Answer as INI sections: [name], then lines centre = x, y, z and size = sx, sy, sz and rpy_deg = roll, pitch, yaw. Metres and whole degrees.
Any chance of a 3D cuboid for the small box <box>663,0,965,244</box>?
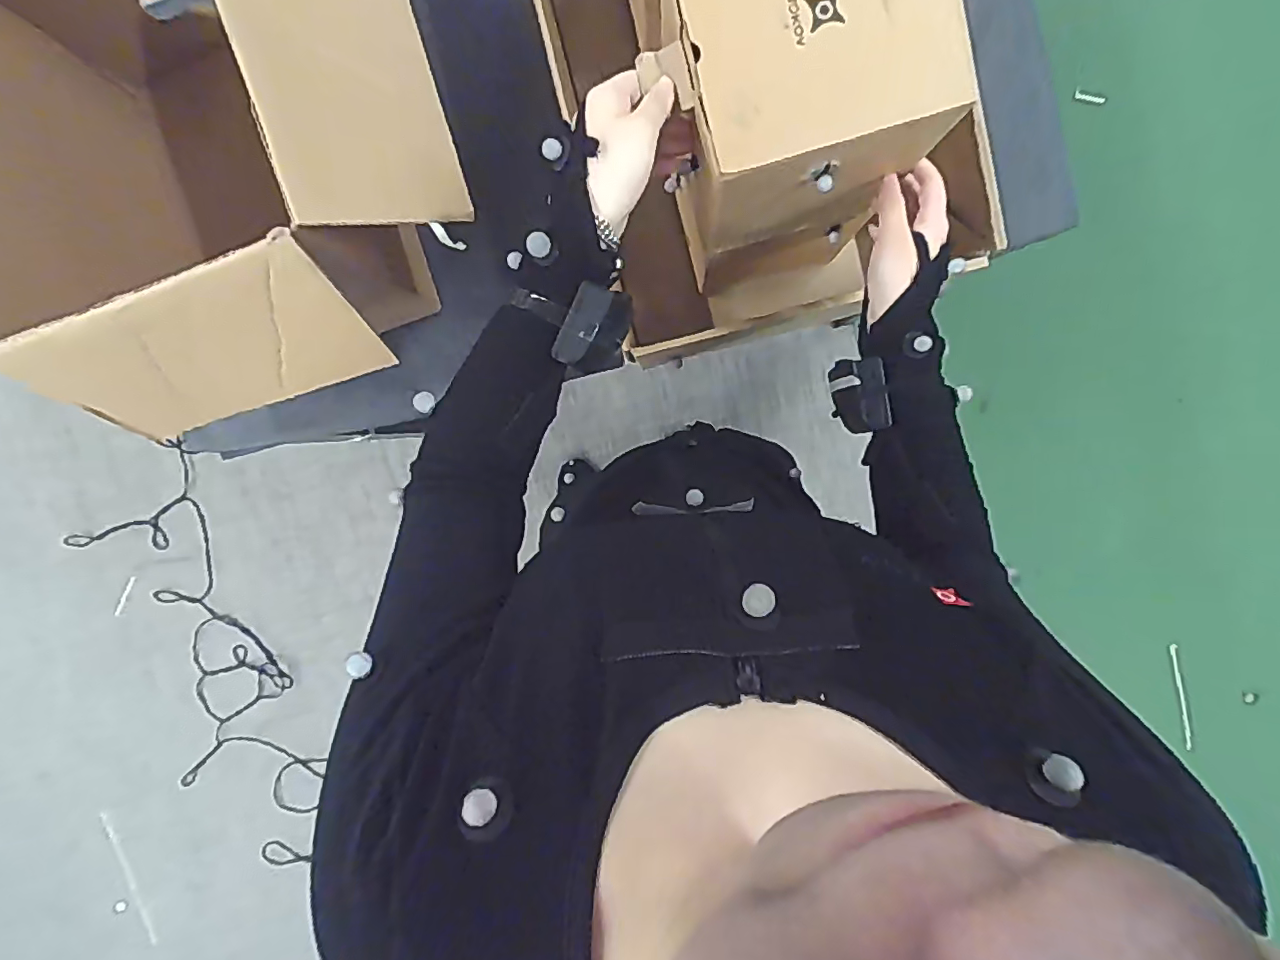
[small box]
centre = 0.119, -0.315, 0.440
size = 0.179, 0.176, 0.168
rpy_deg = -14, 96, 4
